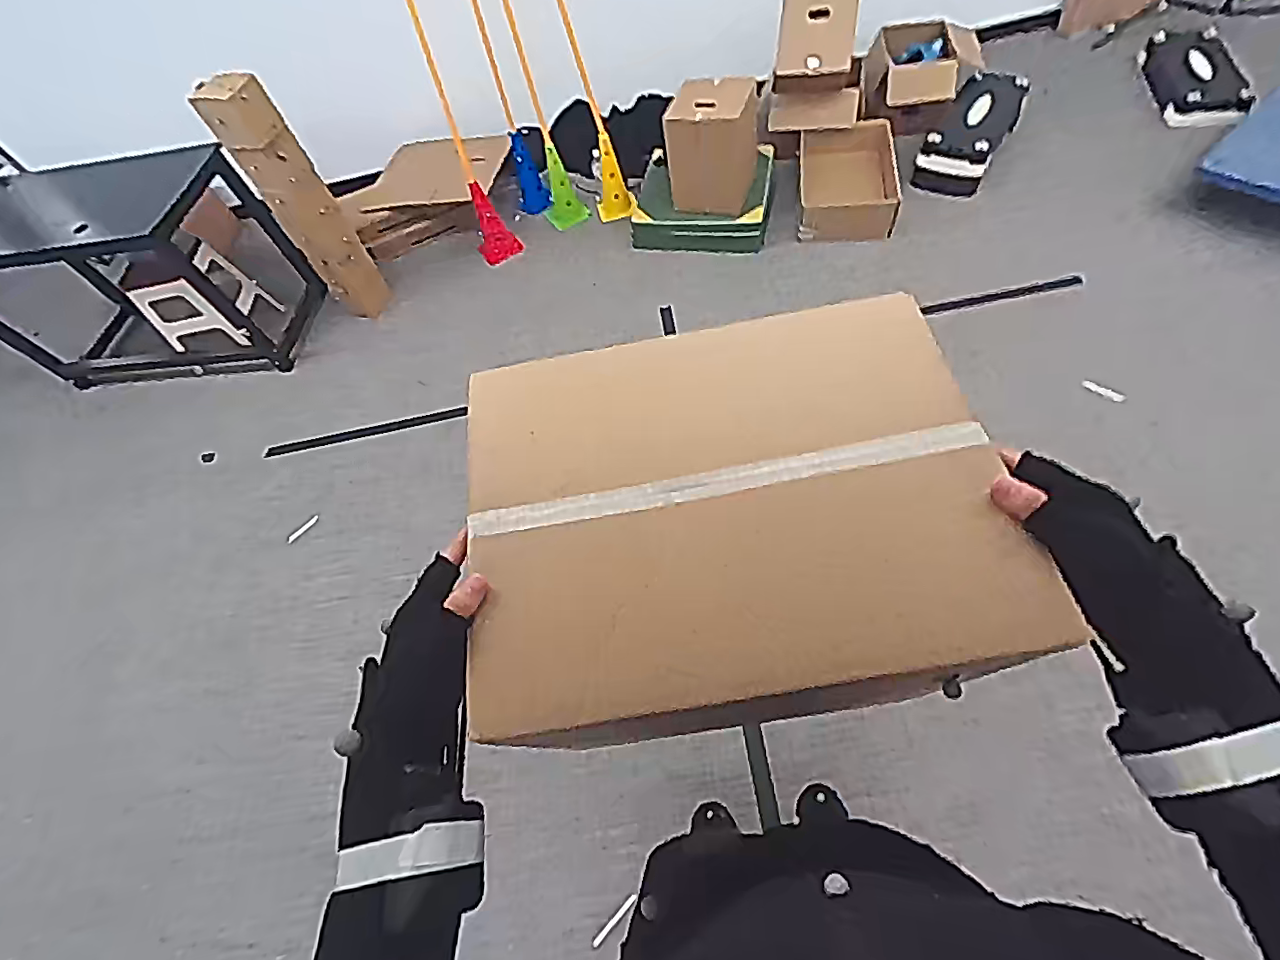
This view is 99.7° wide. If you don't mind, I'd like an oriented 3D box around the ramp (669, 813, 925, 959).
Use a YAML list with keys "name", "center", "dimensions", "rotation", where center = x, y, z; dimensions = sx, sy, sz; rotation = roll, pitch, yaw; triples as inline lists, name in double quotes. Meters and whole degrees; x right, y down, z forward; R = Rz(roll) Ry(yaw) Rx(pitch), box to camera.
- name: "ramp"
  center: [0.381, 1.236, 1.027]
  dimensions: [0.509, 0.206, 0.991]
  rotation: [-12, 59, 2]

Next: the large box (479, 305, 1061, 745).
- name: "large box"
  center: [0.085, 0.076, 0.564]
  dimensions: [0.408, 0.320, 0.320]
  rotation: [-11, 61, 3]
